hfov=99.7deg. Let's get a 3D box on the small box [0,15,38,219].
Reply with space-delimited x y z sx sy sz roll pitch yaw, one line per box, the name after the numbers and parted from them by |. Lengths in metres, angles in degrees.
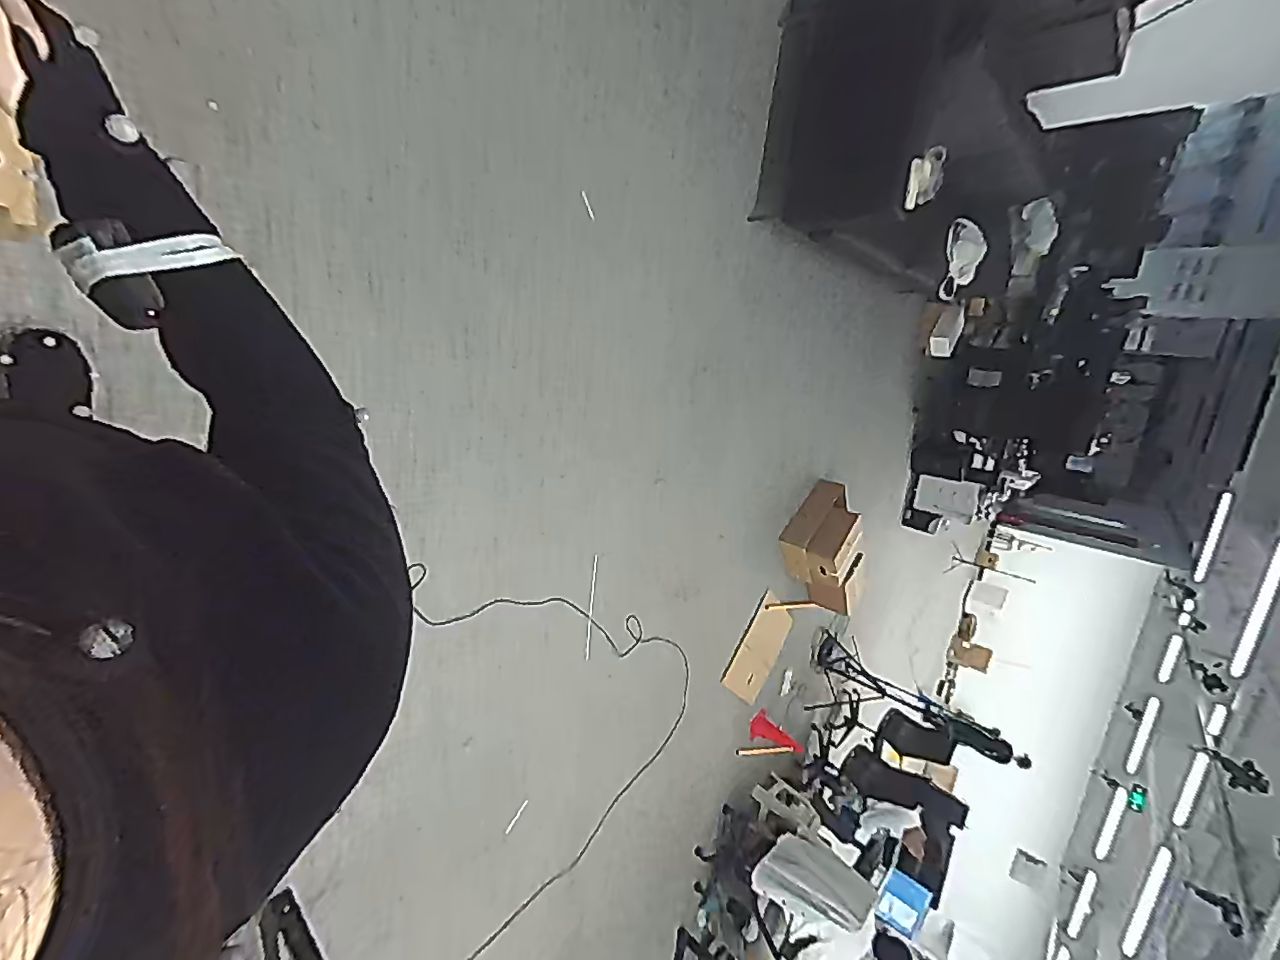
-0.729 -0.383 0.534 0.168 0.176 0.179 6 98 -49 | small box
